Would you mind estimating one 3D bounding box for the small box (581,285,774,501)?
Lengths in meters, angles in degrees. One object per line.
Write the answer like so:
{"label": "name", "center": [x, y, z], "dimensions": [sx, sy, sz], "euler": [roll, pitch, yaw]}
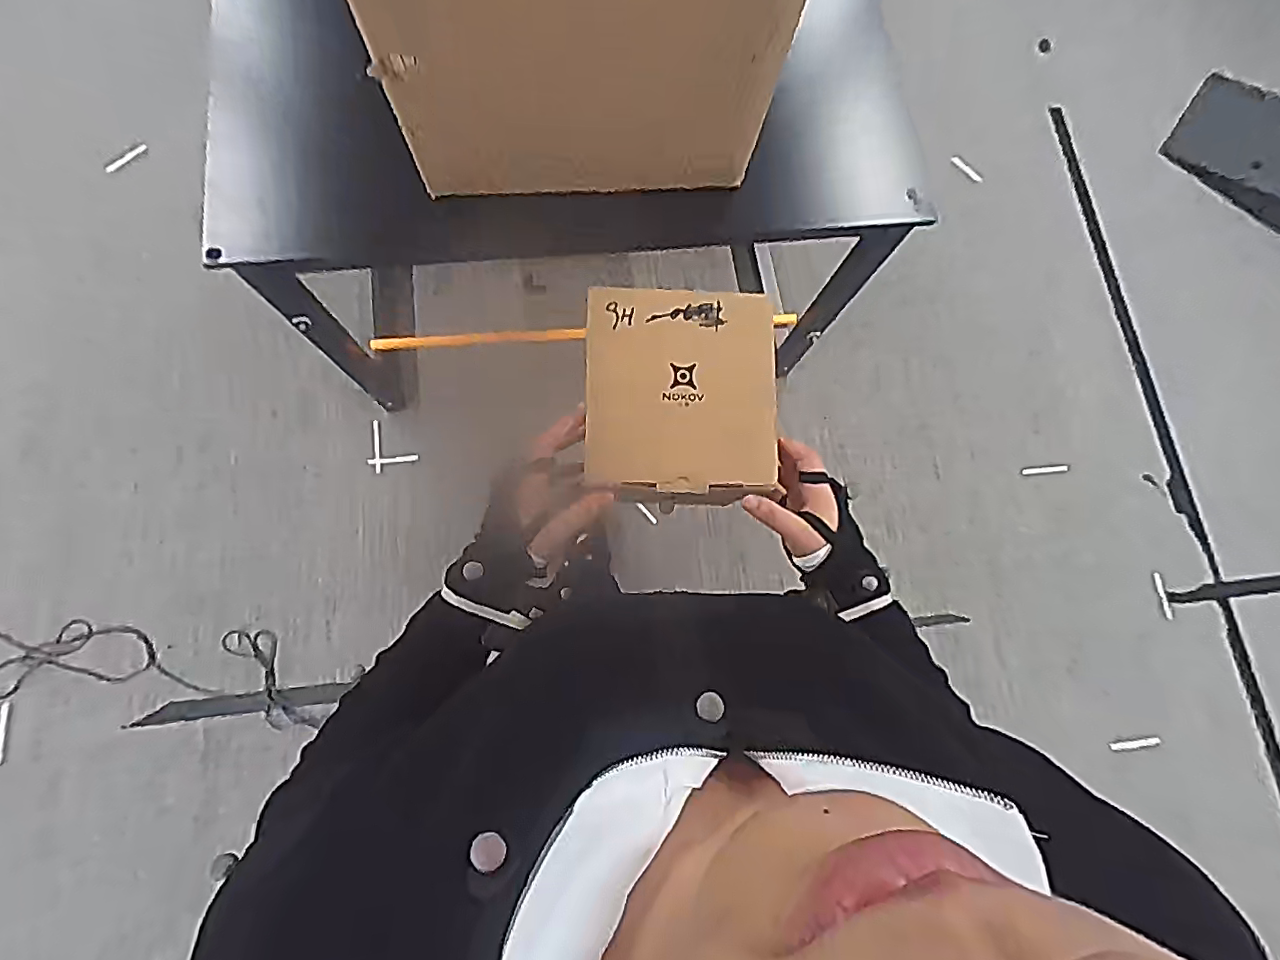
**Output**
{"label": "small box", "center": [0.028, -0.072, 0.541], "dimensions": [0.168, 0.176, 0.179], "euler": [1, 83, -5]}
